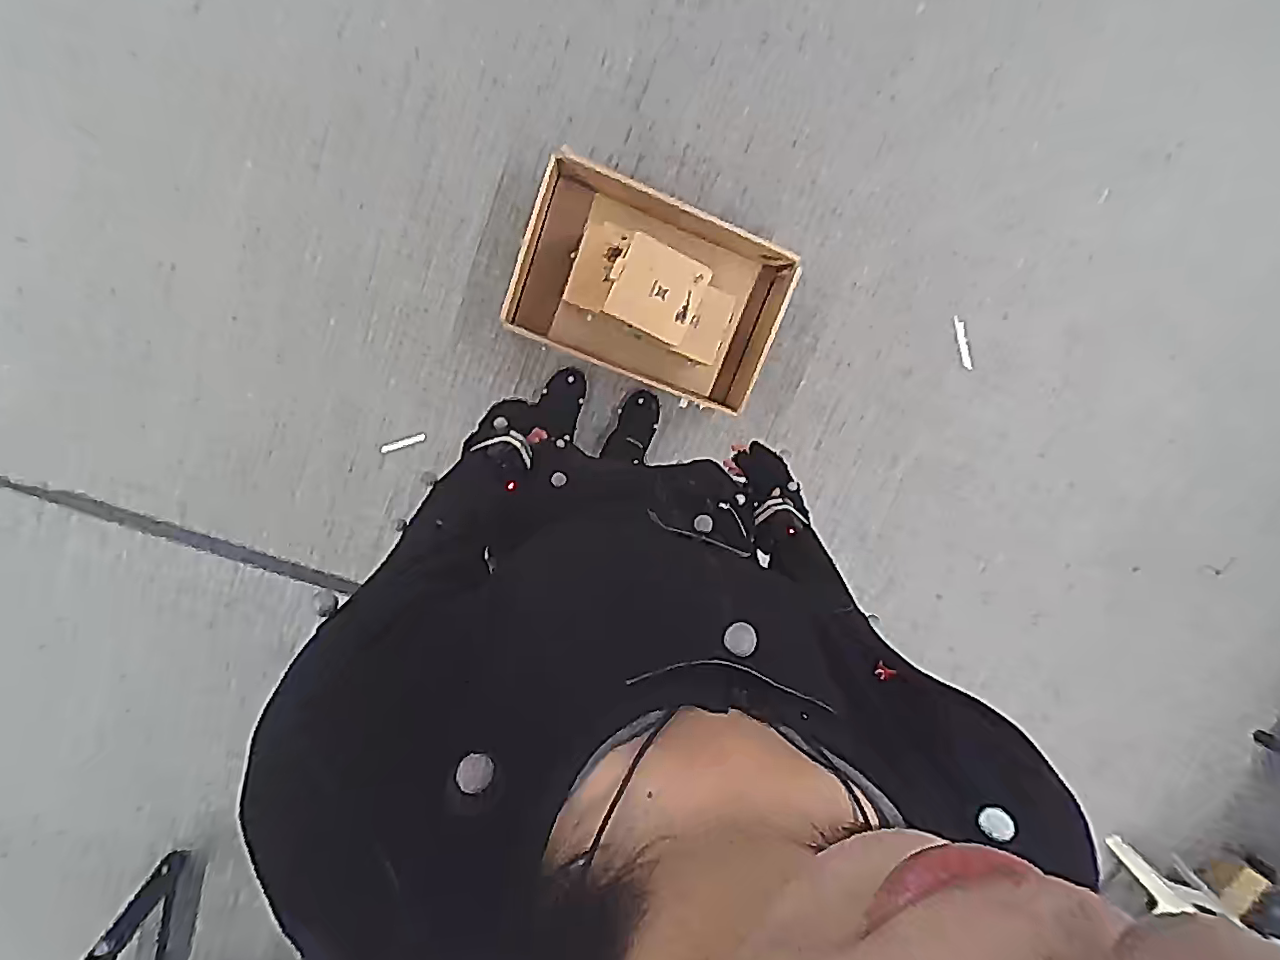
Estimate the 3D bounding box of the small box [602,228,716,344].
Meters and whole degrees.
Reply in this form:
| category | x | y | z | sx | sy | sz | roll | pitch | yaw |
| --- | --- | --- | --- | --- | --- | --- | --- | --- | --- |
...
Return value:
| category | x | y | z | sx | sy | sz | roll | pitch | yaw |
| --- | --- | --- | --- | --- | --- | --- | --- | --- | --- |
| small box | 0.030 | -0.395 | 1.138 | 0.179 | 0.176 | 0.168 | 24 | 100 | -12 |

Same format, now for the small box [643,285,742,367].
| category | x | y | z | sx | sy | sz | roll | pitch | yaw |
| --- | --- | --- | --- | --- | --- | --- | --- | --- | --- |
| small box | 0.119 | -0.389 | 1.319 | 0.179 | 0.176 | 0.168 | 20 | 100 | -9 |
